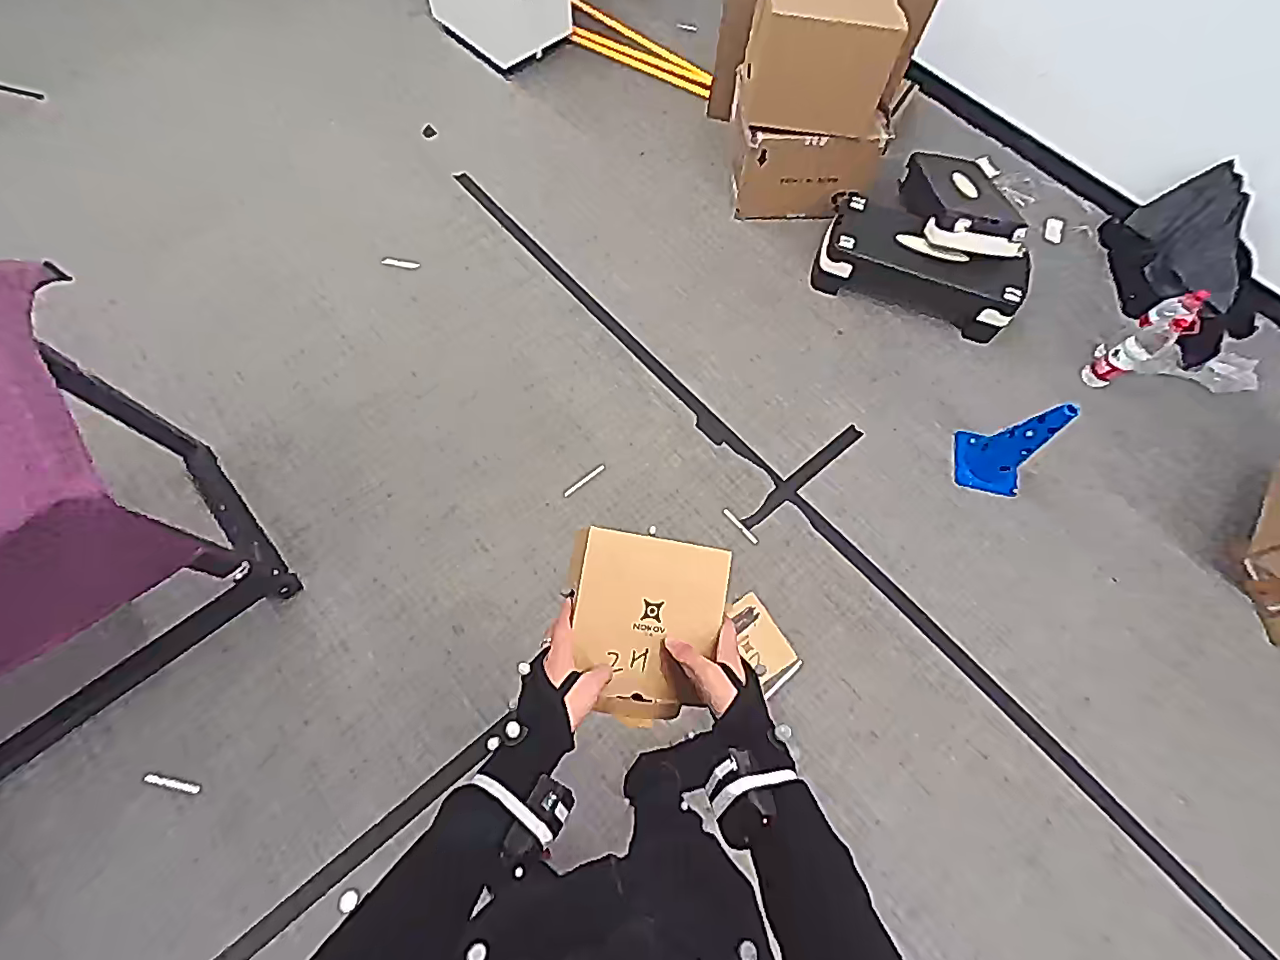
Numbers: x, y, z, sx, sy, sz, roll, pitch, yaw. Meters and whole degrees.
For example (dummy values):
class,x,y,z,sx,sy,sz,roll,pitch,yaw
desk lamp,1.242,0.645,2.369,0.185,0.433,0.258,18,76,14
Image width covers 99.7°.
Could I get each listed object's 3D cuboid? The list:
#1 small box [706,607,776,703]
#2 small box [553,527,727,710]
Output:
class,x,y,z,sx,sy,sz,roll,pitch,yaw
small box,0.220,0.460,1.409,0.179,0.176,0.168,-34,73,-15
small box,-0.011,0.157,0.662,0.168,0.176,0.179,12,83,-10
